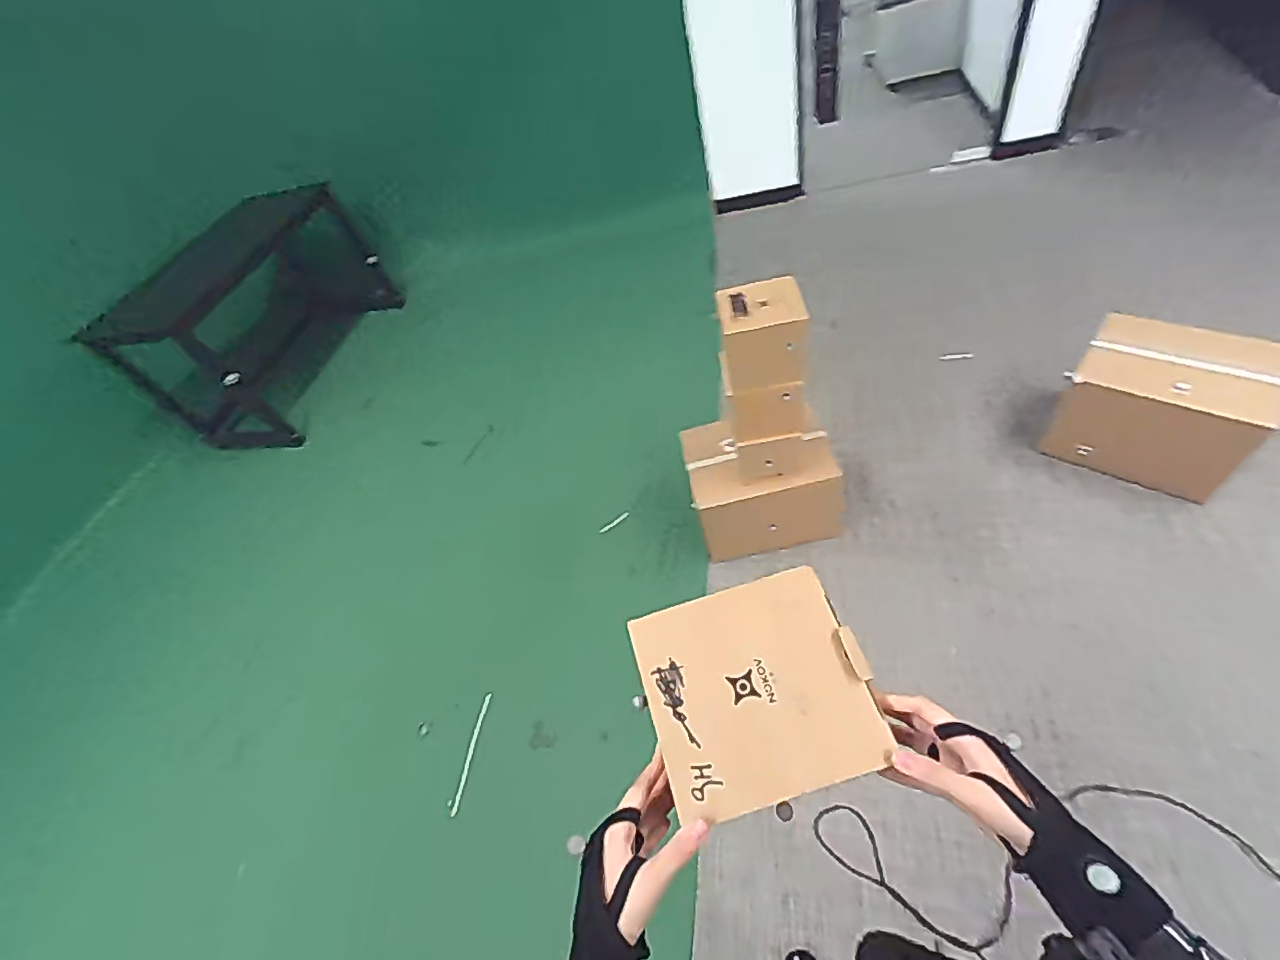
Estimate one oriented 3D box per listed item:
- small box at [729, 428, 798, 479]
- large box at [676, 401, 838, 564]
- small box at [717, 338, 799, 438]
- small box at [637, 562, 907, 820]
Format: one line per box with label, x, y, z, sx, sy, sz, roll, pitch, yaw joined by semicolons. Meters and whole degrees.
small box;0.330;-0.117;1.466;0.168;0.176;0.179;-9;50;9
large box;0.359;0.016;1.674;0.408;0.320;0.320;-15;48;7
small box;0.296;-0.222;1.347;0.179;0.176;0.168;-8;50;10
small box;0.105;0.200;0.504;0.179;0.176;0.168;-15;57;-2
